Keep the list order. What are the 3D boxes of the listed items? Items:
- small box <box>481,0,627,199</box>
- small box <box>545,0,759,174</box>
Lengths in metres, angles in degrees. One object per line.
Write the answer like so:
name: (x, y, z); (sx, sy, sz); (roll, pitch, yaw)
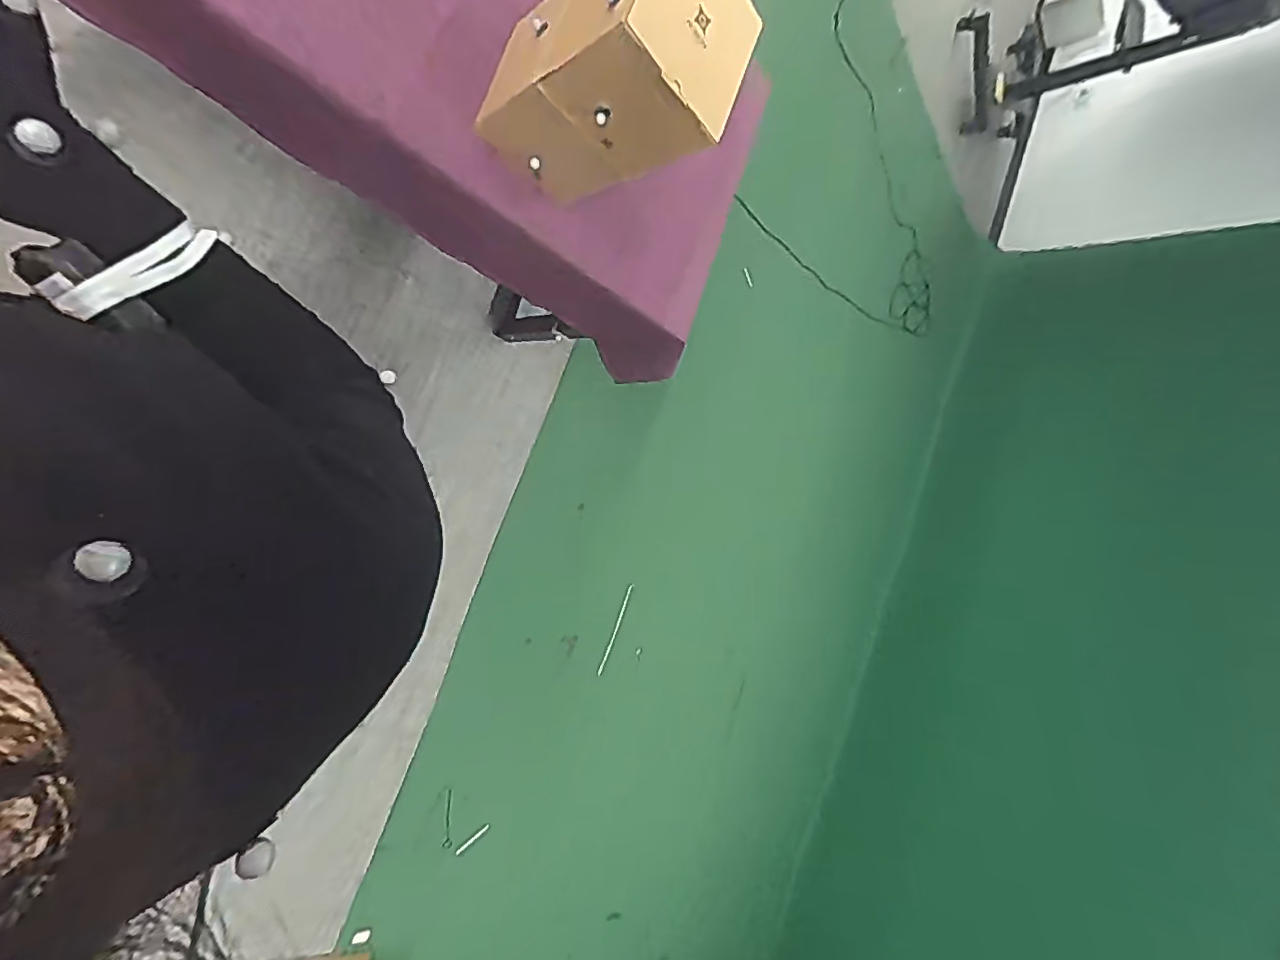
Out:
small box: (-0.100, -0.542, 0.772); (0.168, 0.176, 0.179); (25, 82, -43)
small box: (0.011, -0.515, 0.656); (0.168, 0.176, 0.179); (25, 83, -43)
